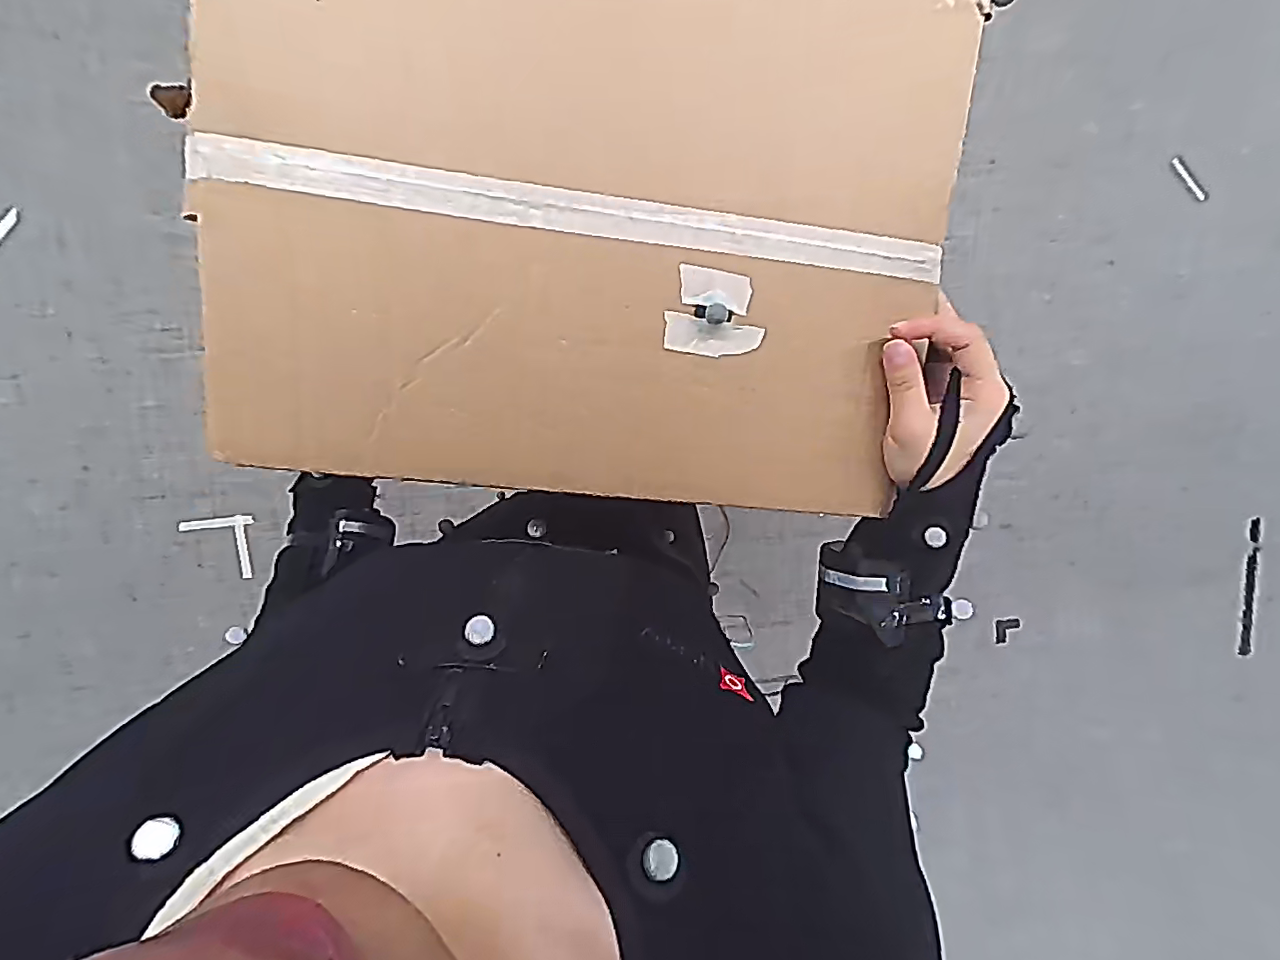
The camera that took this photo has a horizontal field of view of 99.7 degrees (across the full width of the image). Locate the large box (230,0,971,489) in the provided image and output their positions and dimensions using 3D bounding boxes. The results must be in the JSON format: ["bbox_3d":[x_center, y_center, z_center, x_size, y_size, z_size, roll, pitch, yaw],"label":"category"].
[{"bbox_3d":[-0.037,-0.182,0.452,0.408,0.320,0.320,5,100,-9],"label":"large box"}]
